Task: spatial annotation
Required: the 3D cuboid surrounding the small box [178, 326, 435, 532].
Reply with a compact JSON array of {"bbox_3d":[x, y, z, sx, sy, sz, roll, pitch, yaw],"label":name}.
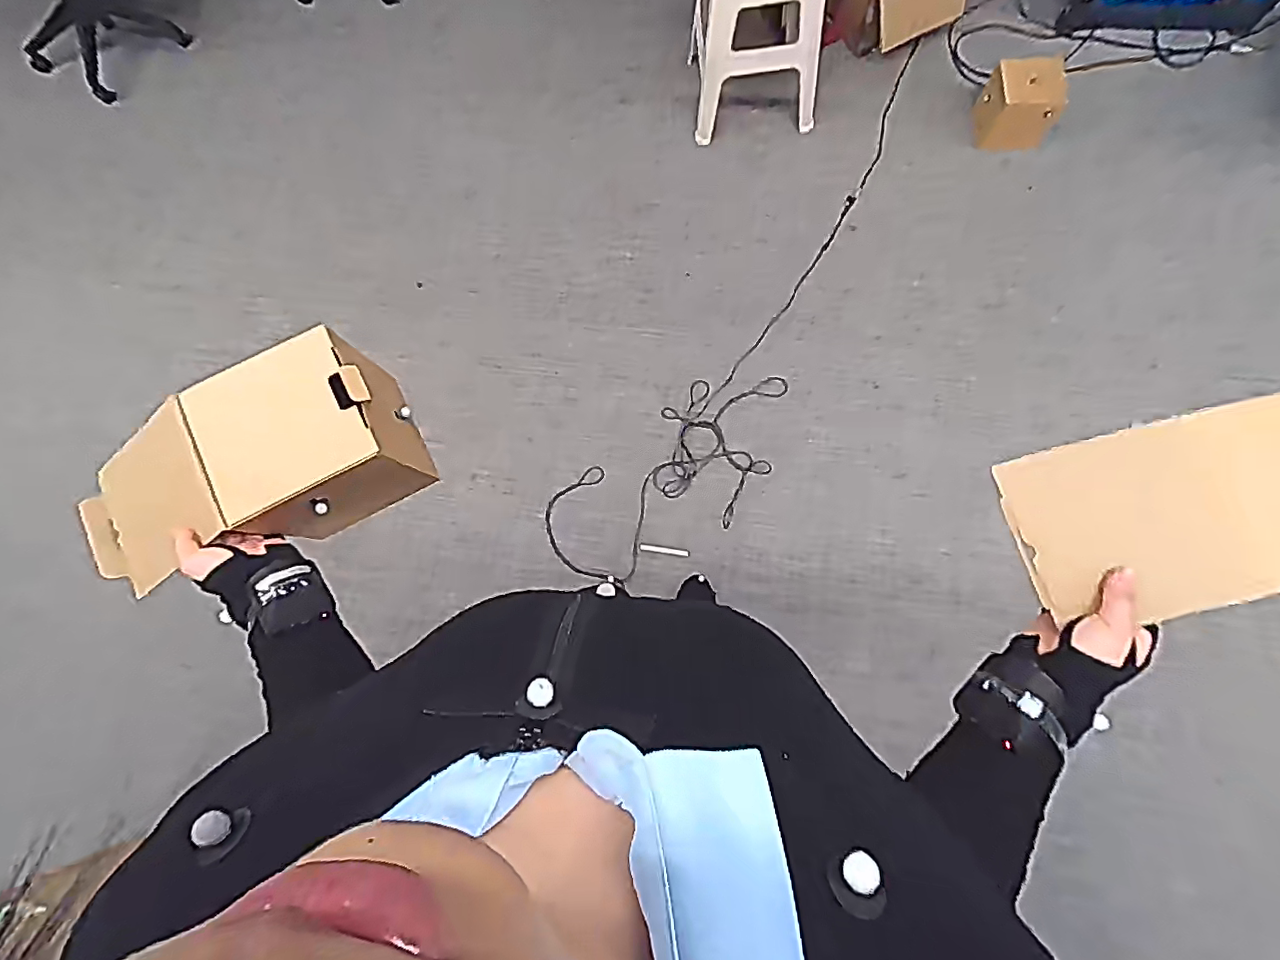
[{"bbox_3d":[-0.383,-0.047,0.651,0.179,0.176,0.168,-27,82,-4],"label":"small box"}]
